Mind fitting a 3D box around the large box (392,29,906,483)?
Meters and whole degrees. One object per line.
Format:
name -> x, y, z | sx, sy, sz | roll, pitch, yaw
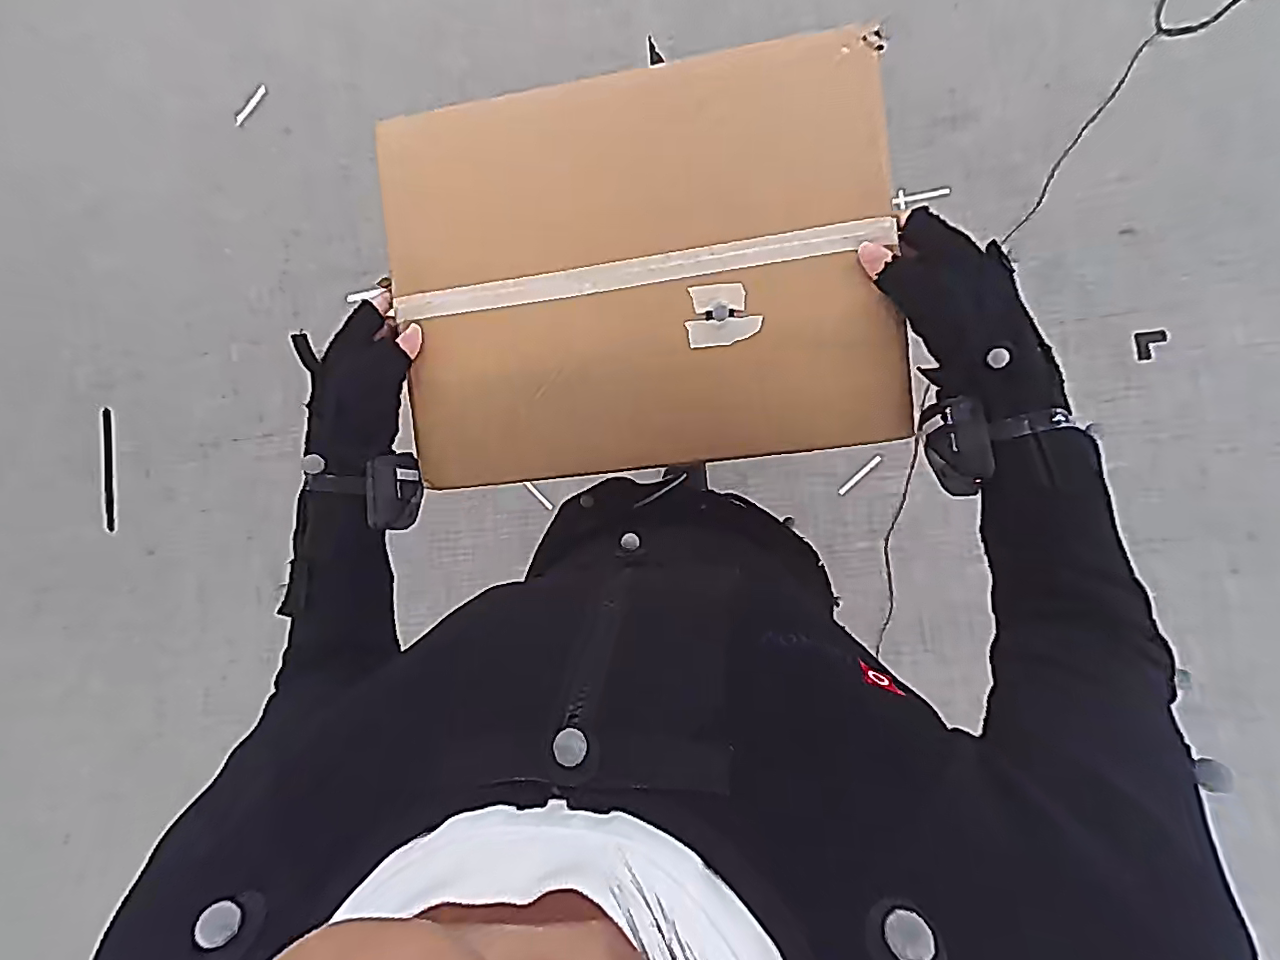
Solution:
large box -> 0.014, -0.182, 0.595 | 0.408, 0.320, 0.320 | -7, 93, 7
